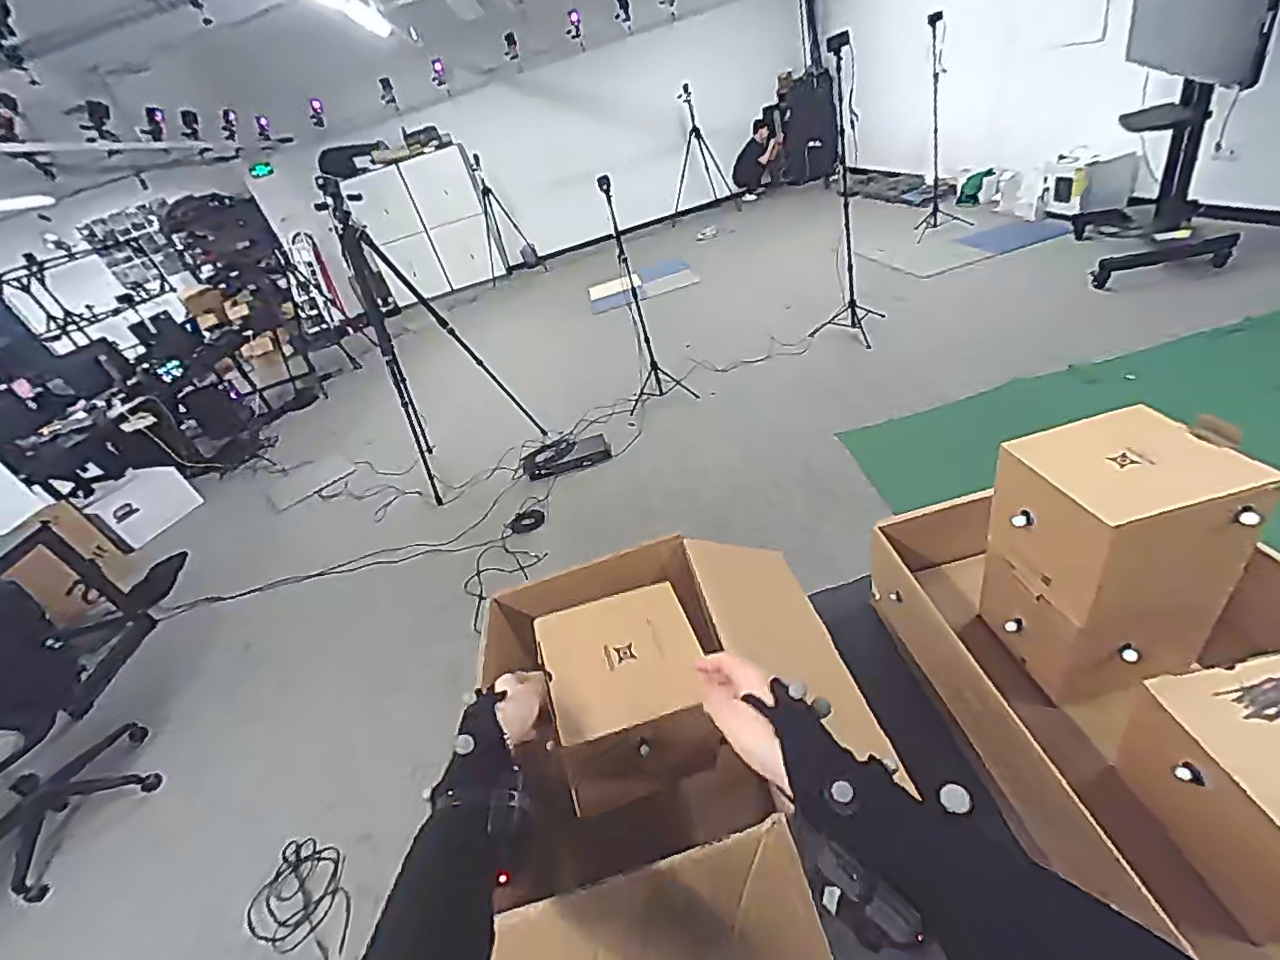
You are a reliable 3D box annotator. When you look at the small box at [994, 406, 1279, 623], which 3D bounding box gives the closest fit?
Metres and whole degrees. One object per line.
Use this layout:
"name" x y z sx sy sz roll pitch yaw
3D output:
"small box" 0.550 0.042 0.636 0.179 0.176 0.168 -16 35 3
